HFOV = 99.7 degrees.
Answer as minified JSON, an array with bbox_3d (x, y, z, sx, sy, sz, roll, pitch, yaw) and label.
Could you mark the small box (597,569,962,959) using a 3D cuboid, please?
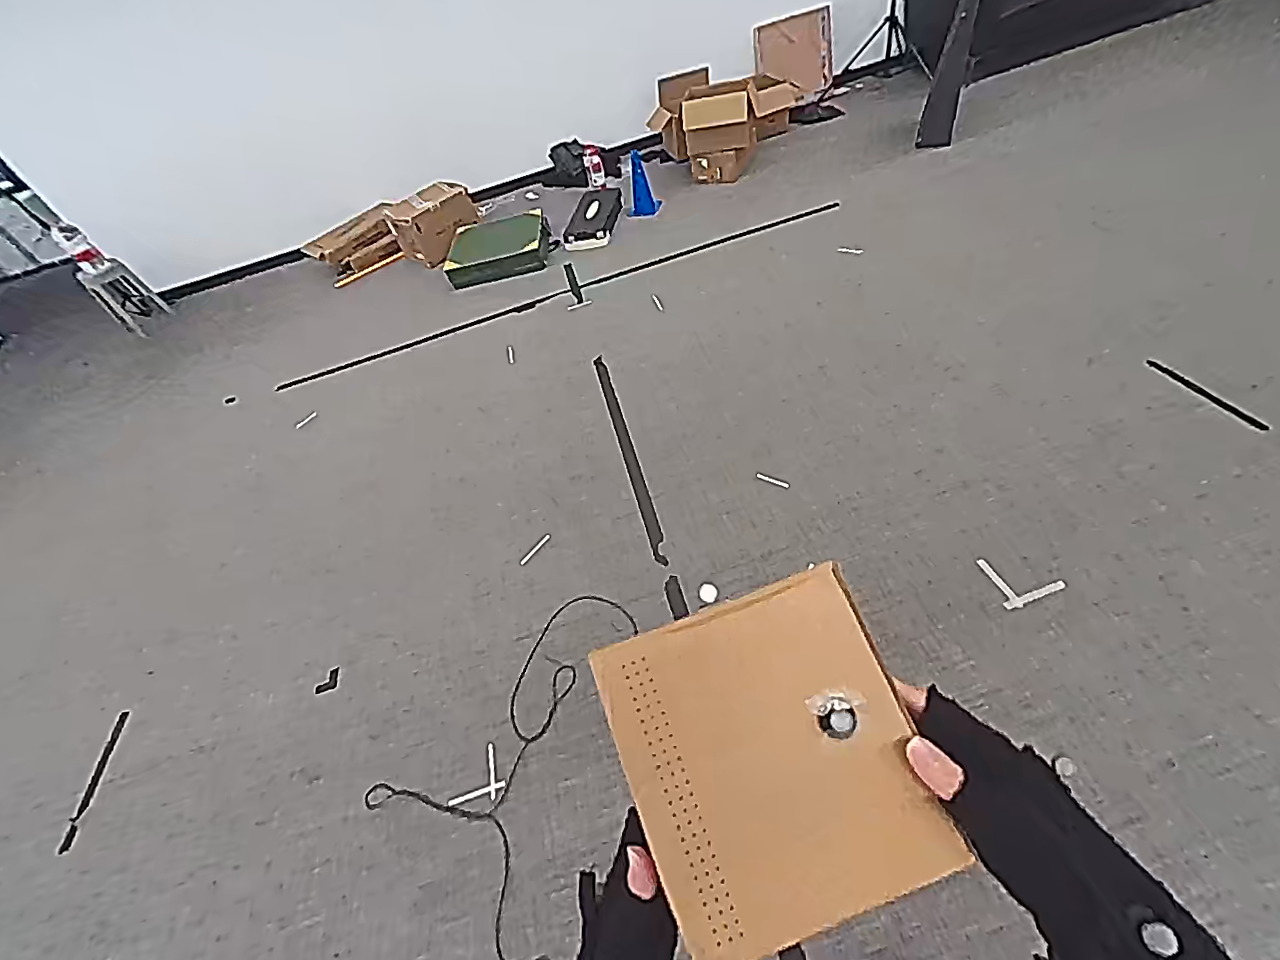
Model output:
[{"bbox_3d":[0.077,0.185,0.395,0.176,0.168,0.179,-21,75,-3],"label":"small box"}]
